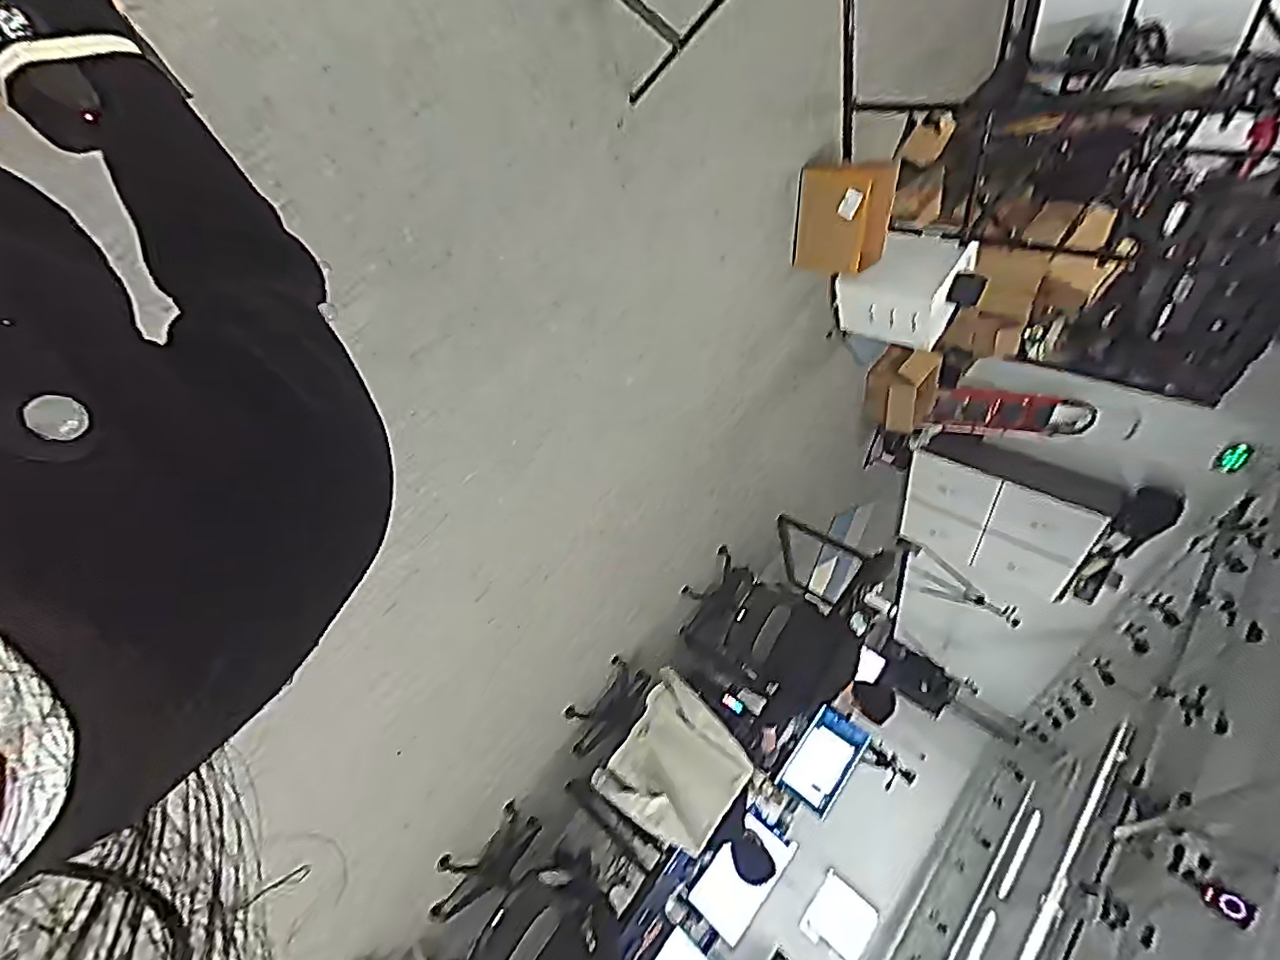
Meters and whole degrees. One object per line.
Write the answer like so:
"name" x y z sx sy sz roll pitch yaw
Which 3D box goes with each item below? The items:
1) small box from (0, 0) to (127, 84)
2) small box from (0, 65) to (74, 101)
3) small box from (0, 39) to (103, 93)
"small box" -0.640 -0.479 0.496 0.179 0.176 0.168 -47 142 -21
"small box" -0.994 -0.665 0.783 0.168 0.176 0.179 -47 142 -20
"small box" -0.759 -0.538 0.594 0.179 0.176 0.168 -45 141 -20
